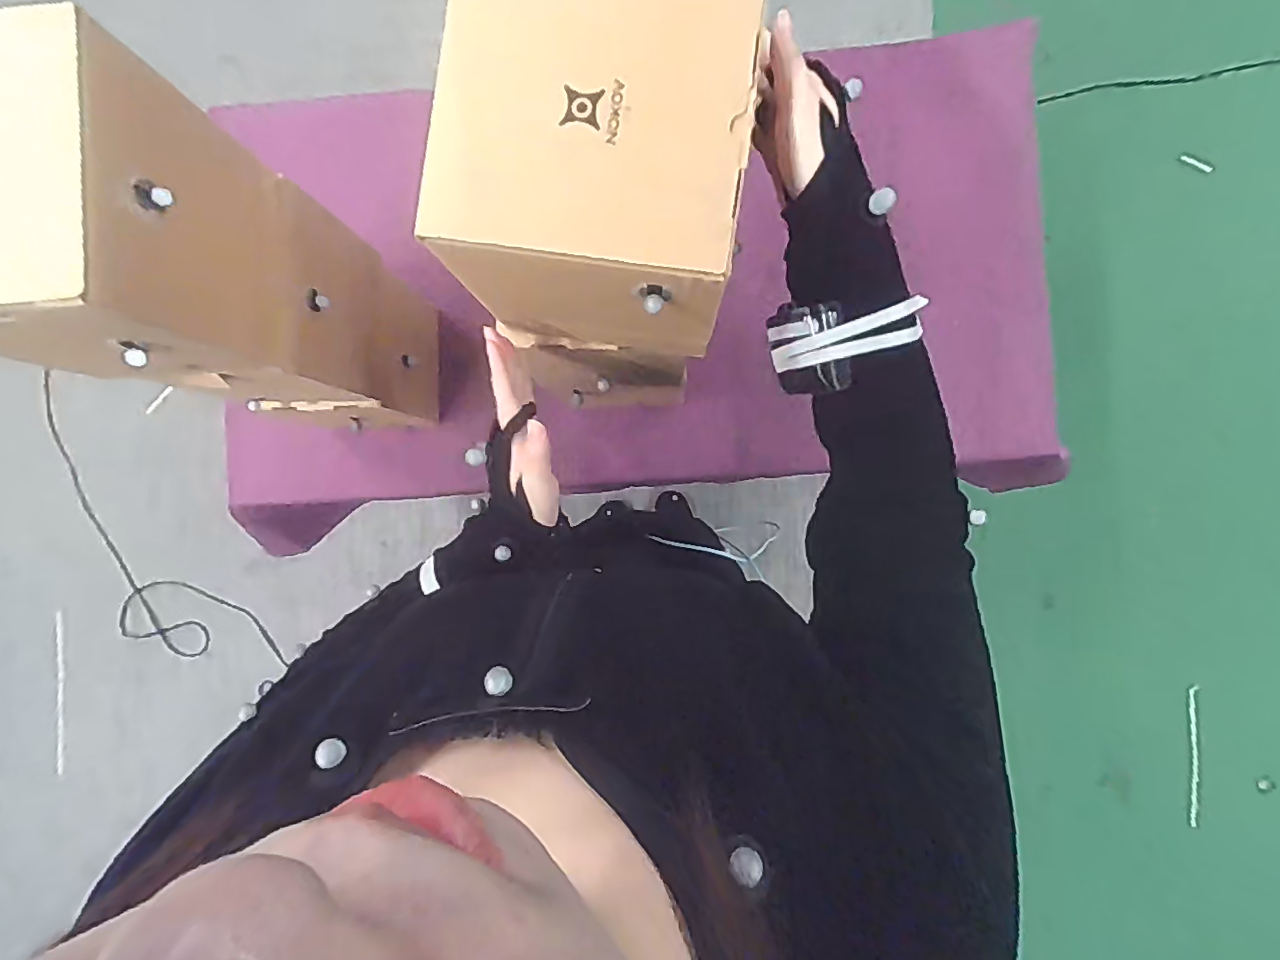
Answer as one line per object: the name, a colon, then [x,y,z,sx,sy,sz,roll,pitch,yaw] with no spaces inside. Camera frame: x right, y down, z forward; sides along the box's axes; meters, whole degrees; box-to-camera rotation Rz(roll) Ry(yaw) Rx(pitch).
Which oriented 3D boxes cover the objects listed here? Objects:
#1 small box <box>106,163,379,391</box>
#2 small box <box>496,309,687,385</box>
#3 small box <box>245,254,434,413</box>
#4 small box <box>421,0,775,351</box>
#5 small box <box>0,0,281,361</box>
small box: [-0.387,-0.189,0.551,0.168,0.176,0.179,1,89,2]
small box: [-0.036,-0.200,0.541,0.168,0.176,0.179,2,90,2]
small box: [-0.385,-0.182,0.716,0.168,0.176,0.179,0,91,0]
small box: [-0.022,-0.199,0.377,0.179,0.176,0.168,9,90,1]
small box: [-0.391,-0.186,0.388,0.168,0.176,0.179,-1,89,1]
